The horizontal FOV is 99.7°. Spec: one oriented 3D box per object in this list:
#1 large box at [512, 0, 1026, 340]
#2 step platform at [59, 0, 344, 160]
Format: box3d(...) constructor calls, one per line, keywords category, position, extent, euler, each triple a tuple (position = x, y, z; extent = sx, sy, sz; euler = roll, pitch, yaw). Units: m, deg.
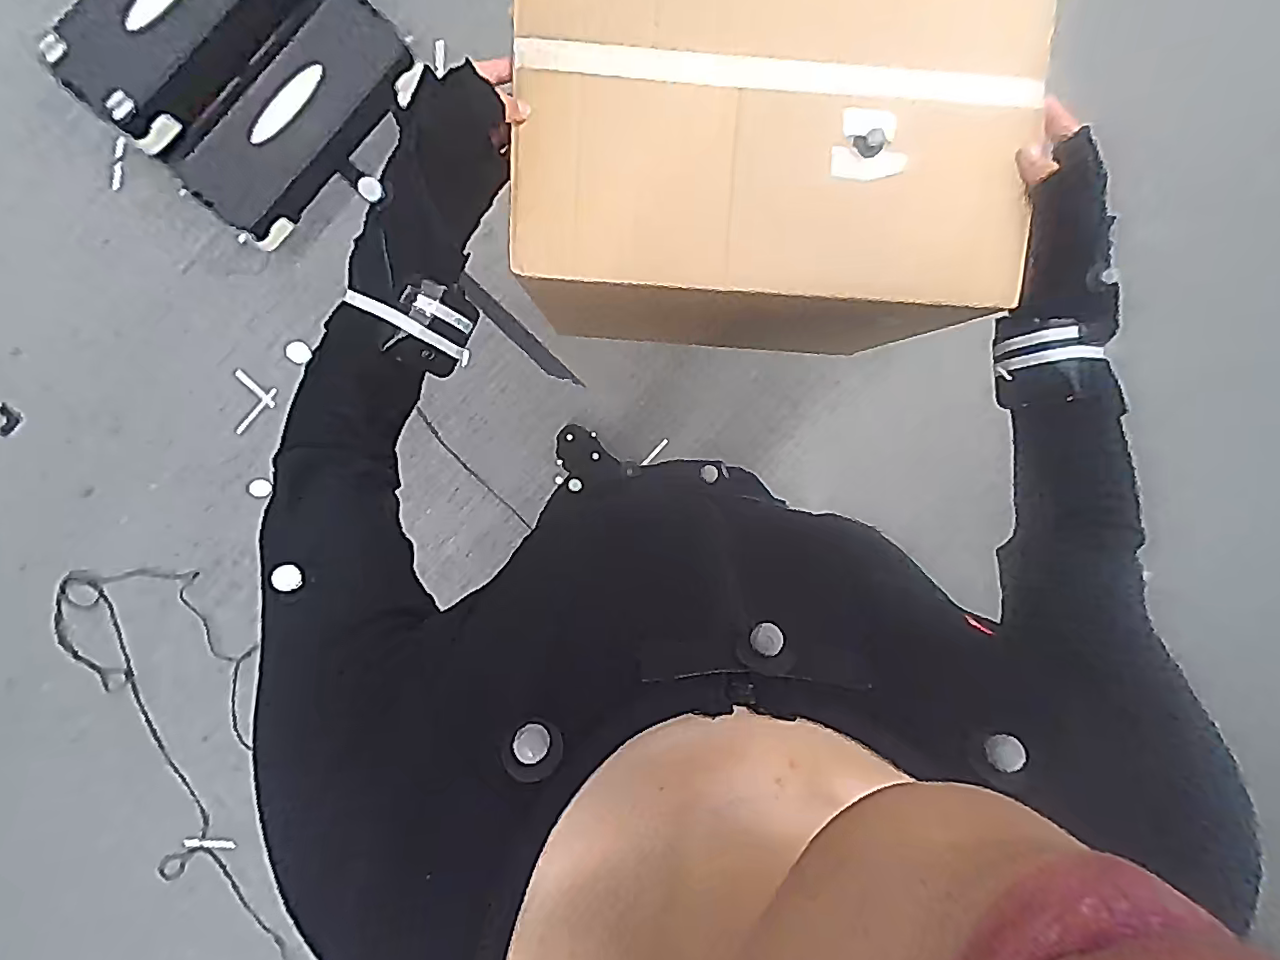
box3d(category="large box", position=(0.092, -0.329, 0.568), extent=(0.408, 0.320, 0.320), euler=(1, 97, -3))
box3d(category="step platform", position=(-1.081, -1.181, 1.367), extent=(0.286, 0.204, 0.684), euler=(40, 89, -1))
